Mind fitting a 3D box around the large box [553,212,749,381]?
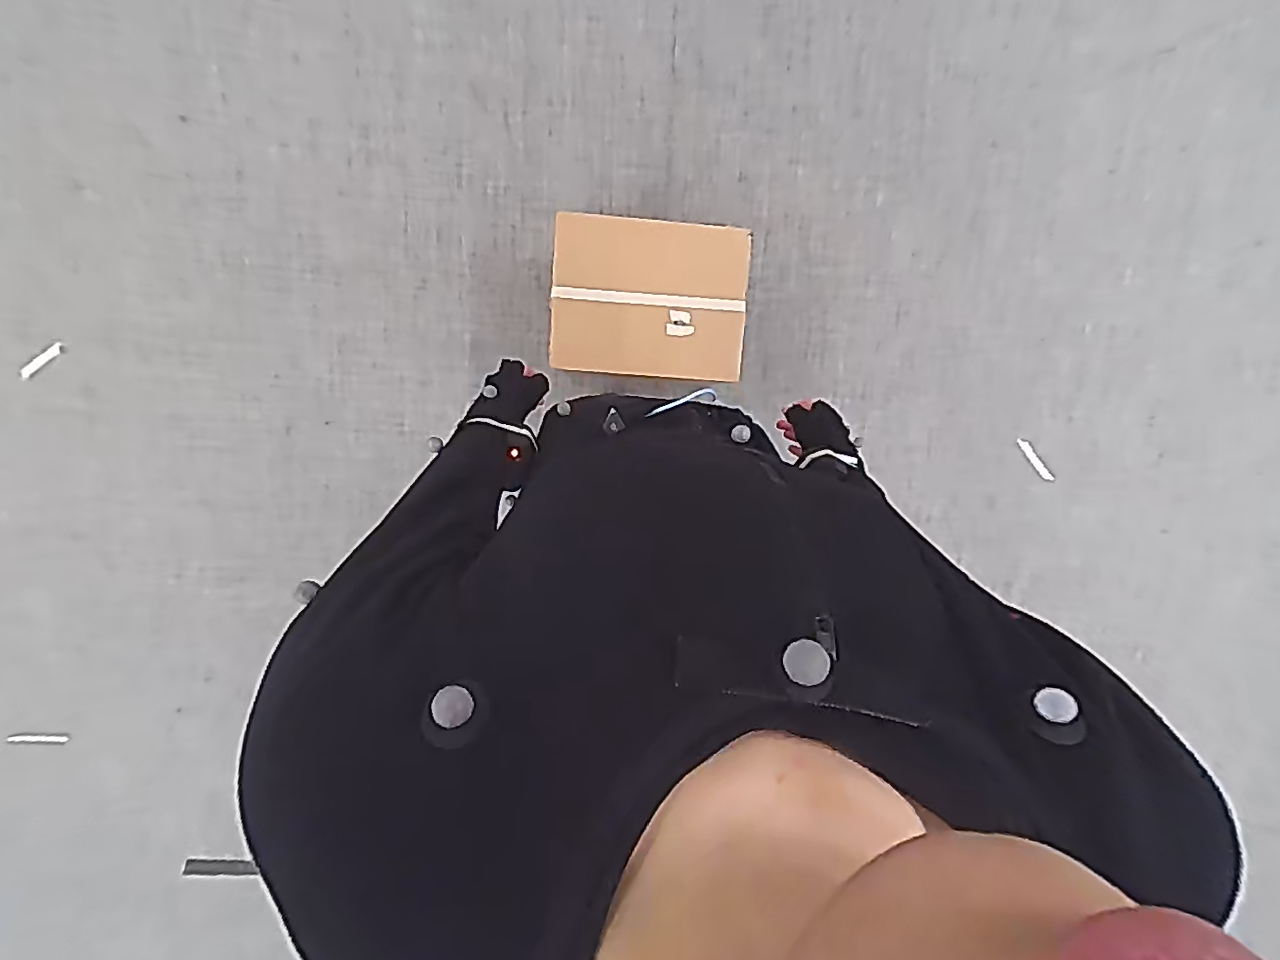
[{"bbox_3d":[0.011,-0.404,1.278,0.408,0.320,0.320,4,99,-5],"label":"large box"}]
